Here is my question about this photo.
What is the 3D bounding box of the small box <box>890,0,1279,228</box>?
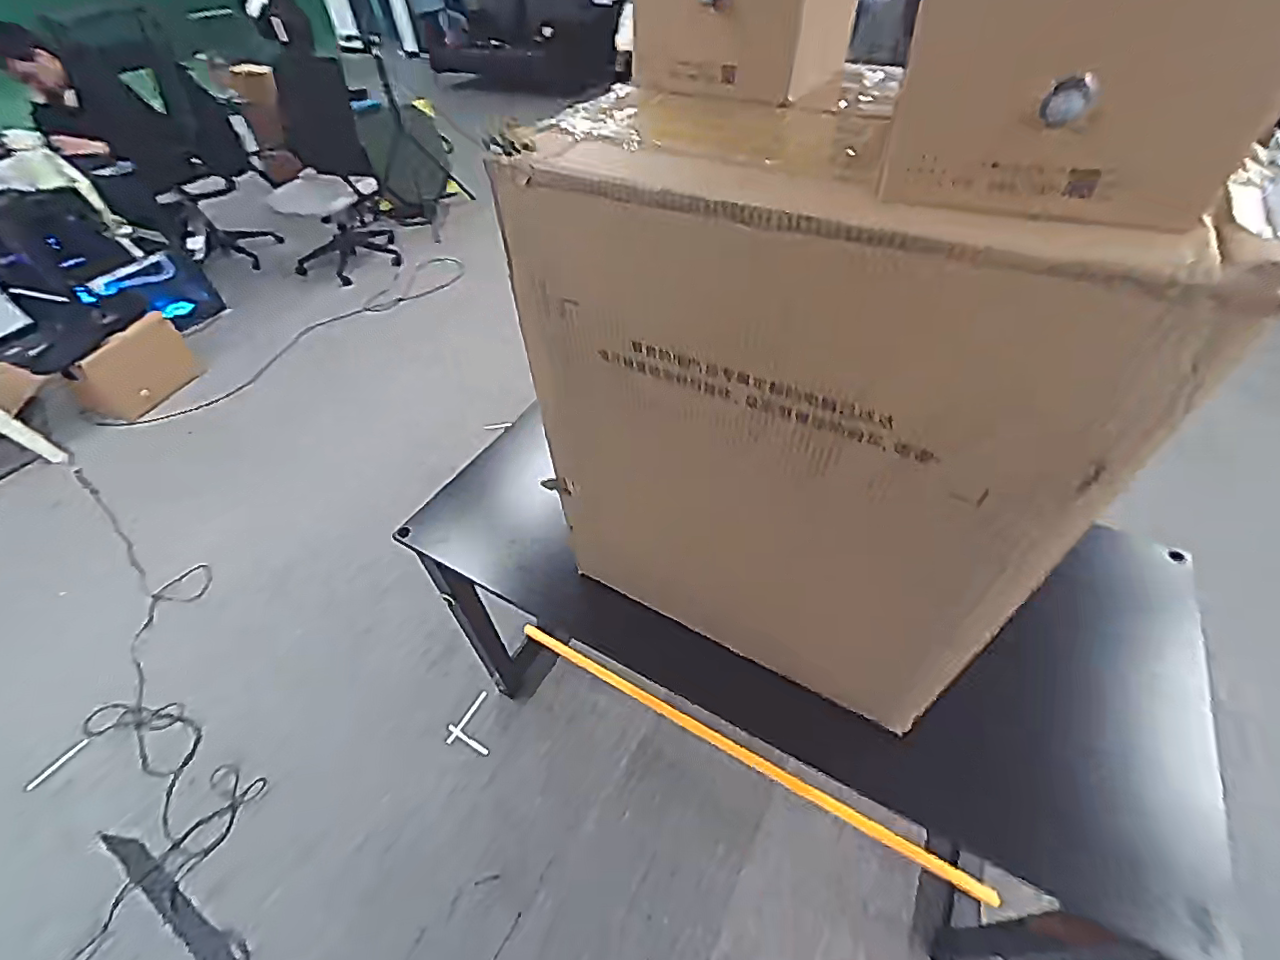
[{"bbox_3d":[0.258,-0.268,0.304,0.168,0.176,0.179,19,52,21],"label":"small box"}]

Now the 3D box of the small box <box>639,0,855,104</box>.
[{"bbox_3d":[0.106,-0.473,0.502,0.168,0.176,0.179,23,53,21],"label":"small box"}]
